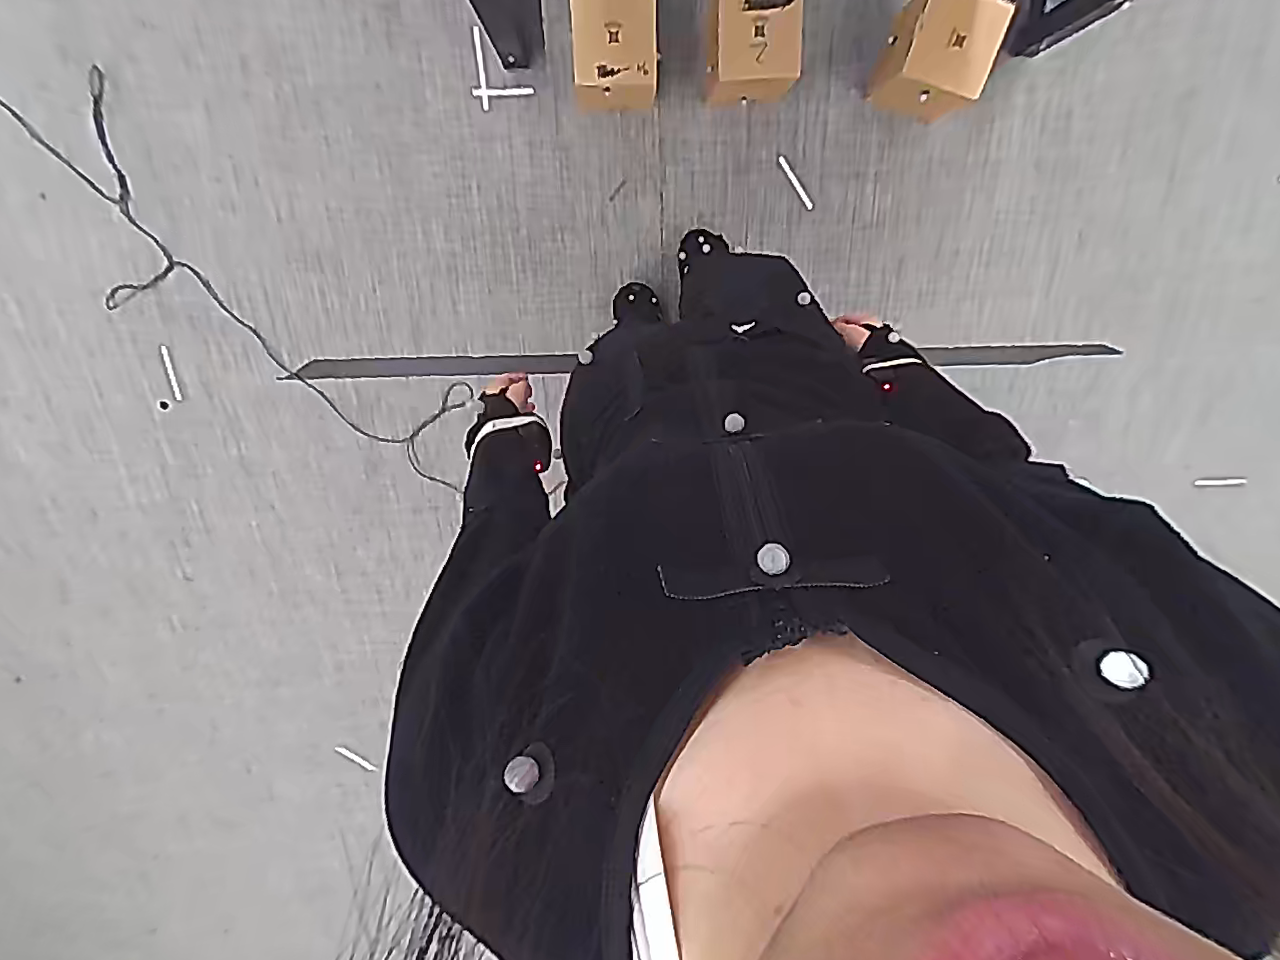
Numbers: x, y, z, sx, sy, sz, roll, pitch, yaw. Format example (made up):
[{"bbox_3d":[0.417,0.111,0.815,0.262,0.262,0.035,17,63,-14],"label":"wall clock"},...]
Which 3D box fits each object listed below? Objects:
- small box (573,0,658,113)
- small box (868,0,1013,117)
[{"bbox_3d":[-0.052,-0.889,1.116,0.168,0.176,0.179,0,108,-2],"label":"small box"},{"bbox_3d":[0.621,-0.897,1.142,0.179,0.176,0.168,14,109,-6],"label":"small box"}]
